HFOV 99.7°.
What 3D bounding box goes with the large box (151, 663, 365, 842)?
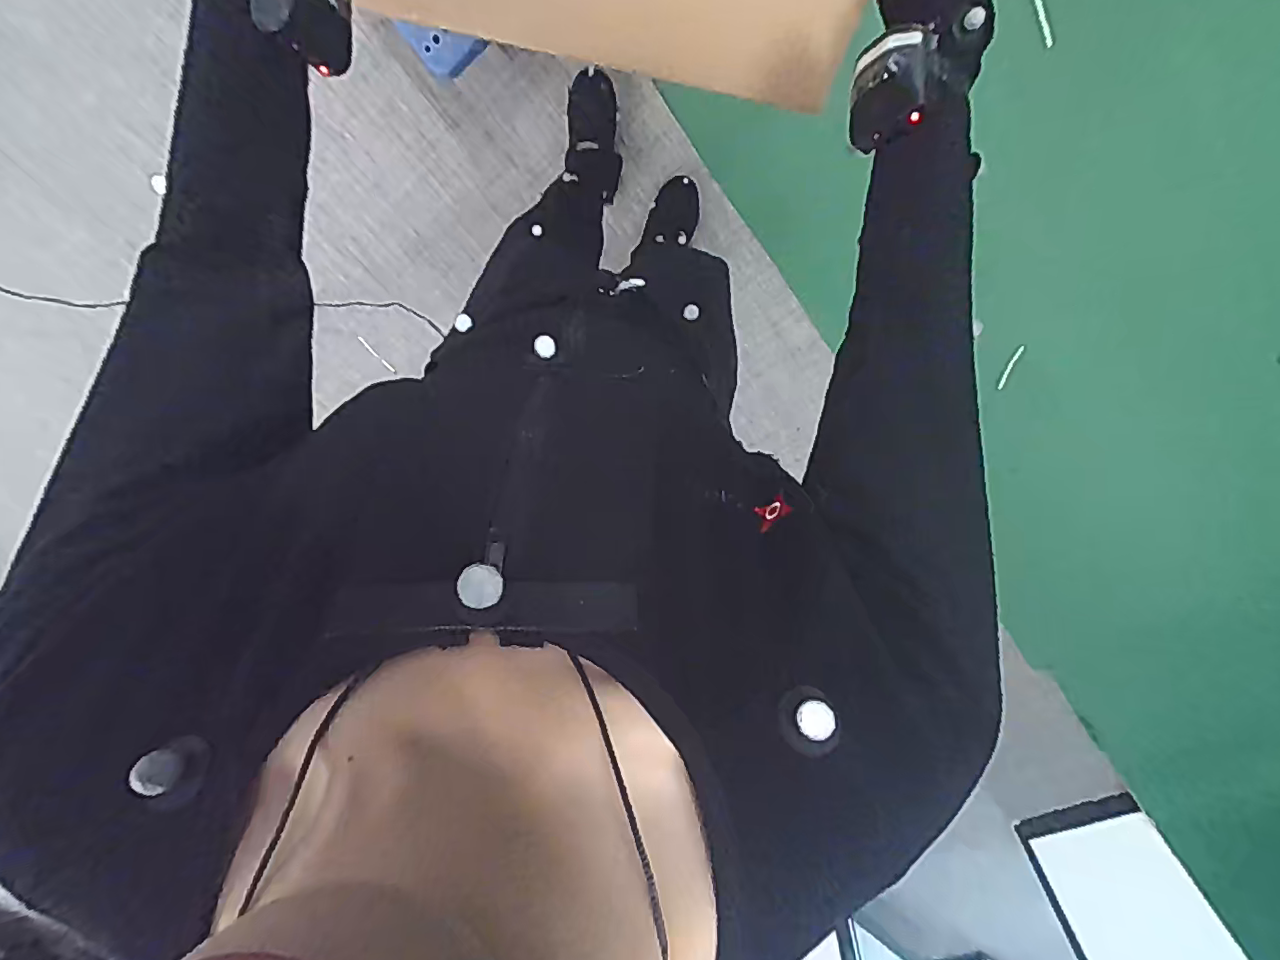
[{"bbox_3d":[-1.210,0.878,1.756,0.320,0.320,0.408,-35,113,18],"label":"large box"}]
